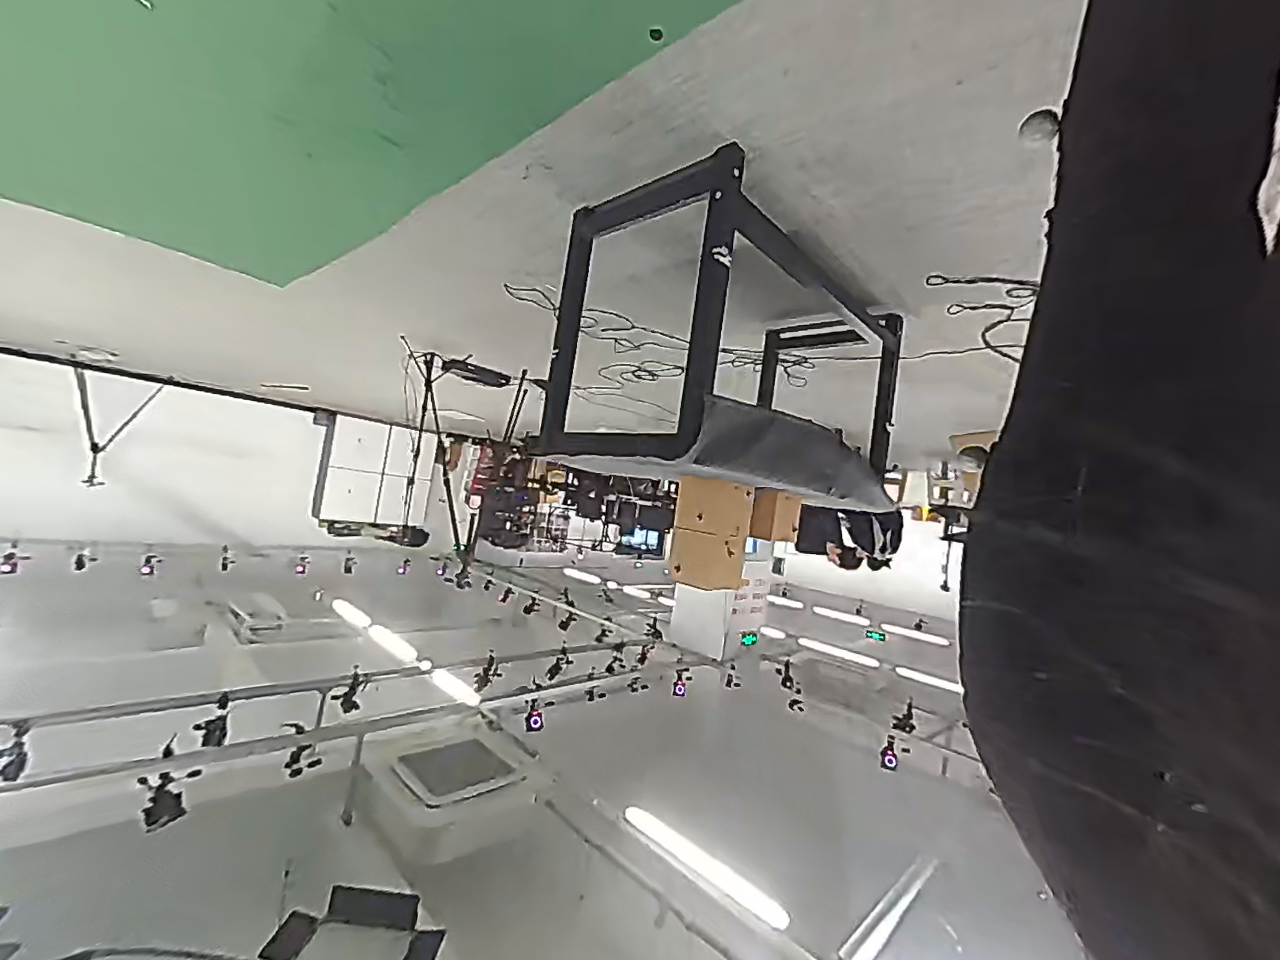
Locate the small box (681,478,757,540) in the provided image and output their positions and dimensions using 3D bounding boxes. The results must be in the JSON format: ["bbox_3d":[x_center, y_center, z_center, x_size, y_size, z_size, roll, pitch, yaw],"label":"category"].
[{"bbox_3d":[0.251,0.088,1.690,0.168,0.176,0.179,11,177,-44],"label":"small box"}]

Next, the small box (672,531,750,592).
[{"bbox_3d":[0.226,0.251,1.703,0.168,0.176,0.179,10,177,-43],"label":"small box"}]
